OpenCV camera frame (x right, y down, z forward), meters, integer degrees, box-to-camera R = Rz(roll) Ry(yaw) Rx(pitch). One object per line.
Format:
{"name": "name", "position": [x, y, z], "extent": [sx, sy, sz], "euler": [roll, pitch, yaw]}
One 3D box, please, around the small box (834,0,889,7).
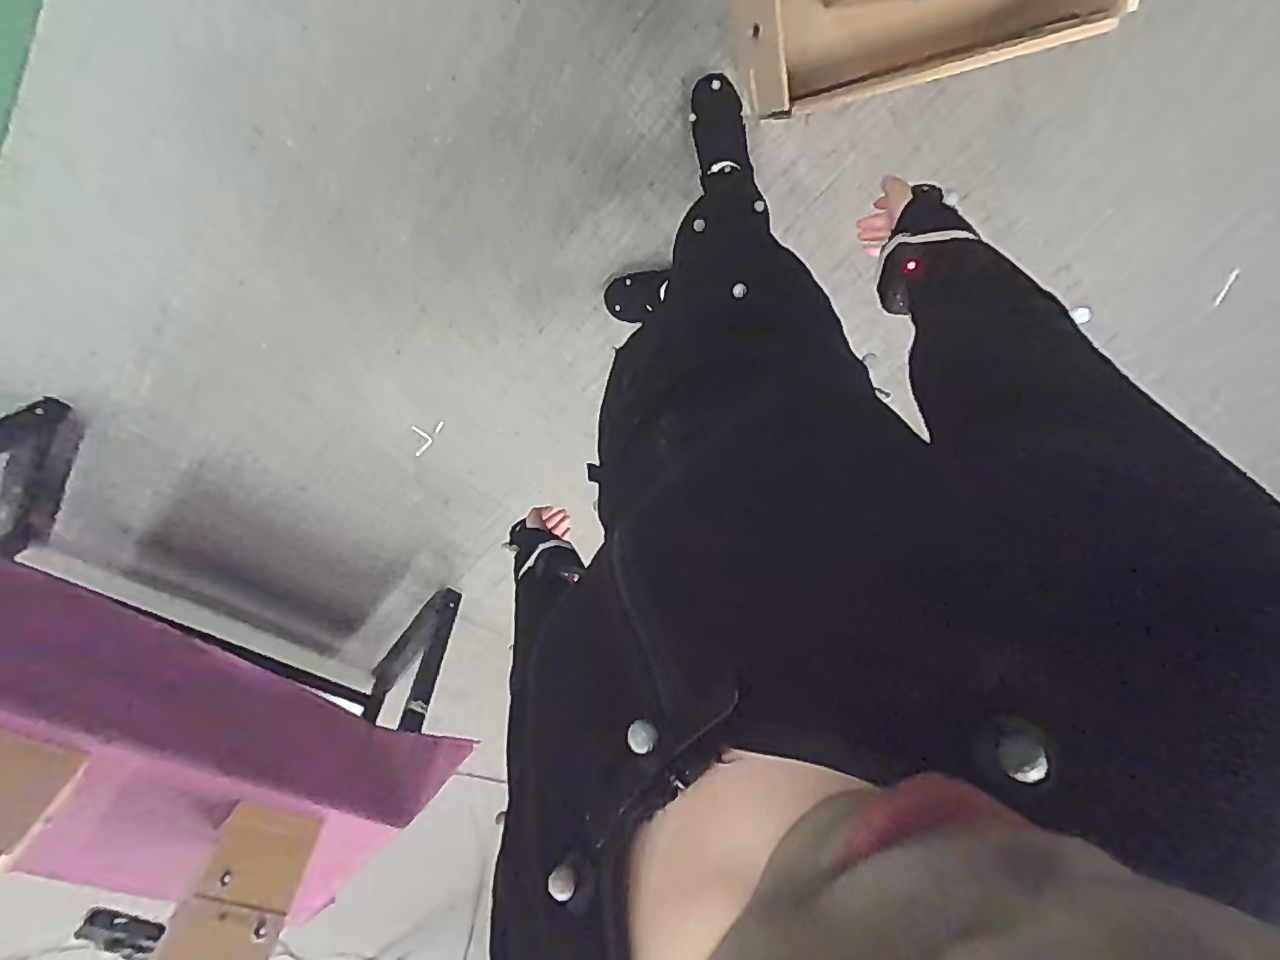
{"name": "small box", "position": [0.317, -0.633, 0.574], "extent": [0.179, 0.176, 0.168], "euler": [-7, 123, 2]}

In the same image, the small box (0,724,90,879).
{"name": "small box", "position": [-1.112, 0.546, 0.919], "extent": [0.179, 0.176, 0.168], "euler": [35, 113, -23]}

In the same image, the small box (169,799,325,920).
{"name": "small box", "position": [-0.777, 0.777, 1.089], "extent": [0.179, 0.176, 0.168], "euler": [34, 115, -21]}

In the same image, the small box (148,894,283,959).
{"name": "small box", "position": [-0.771, 0.865, 0.951], "extent": [0.168, 0.176, 0.179], "euler": [34, 116, -21]}
